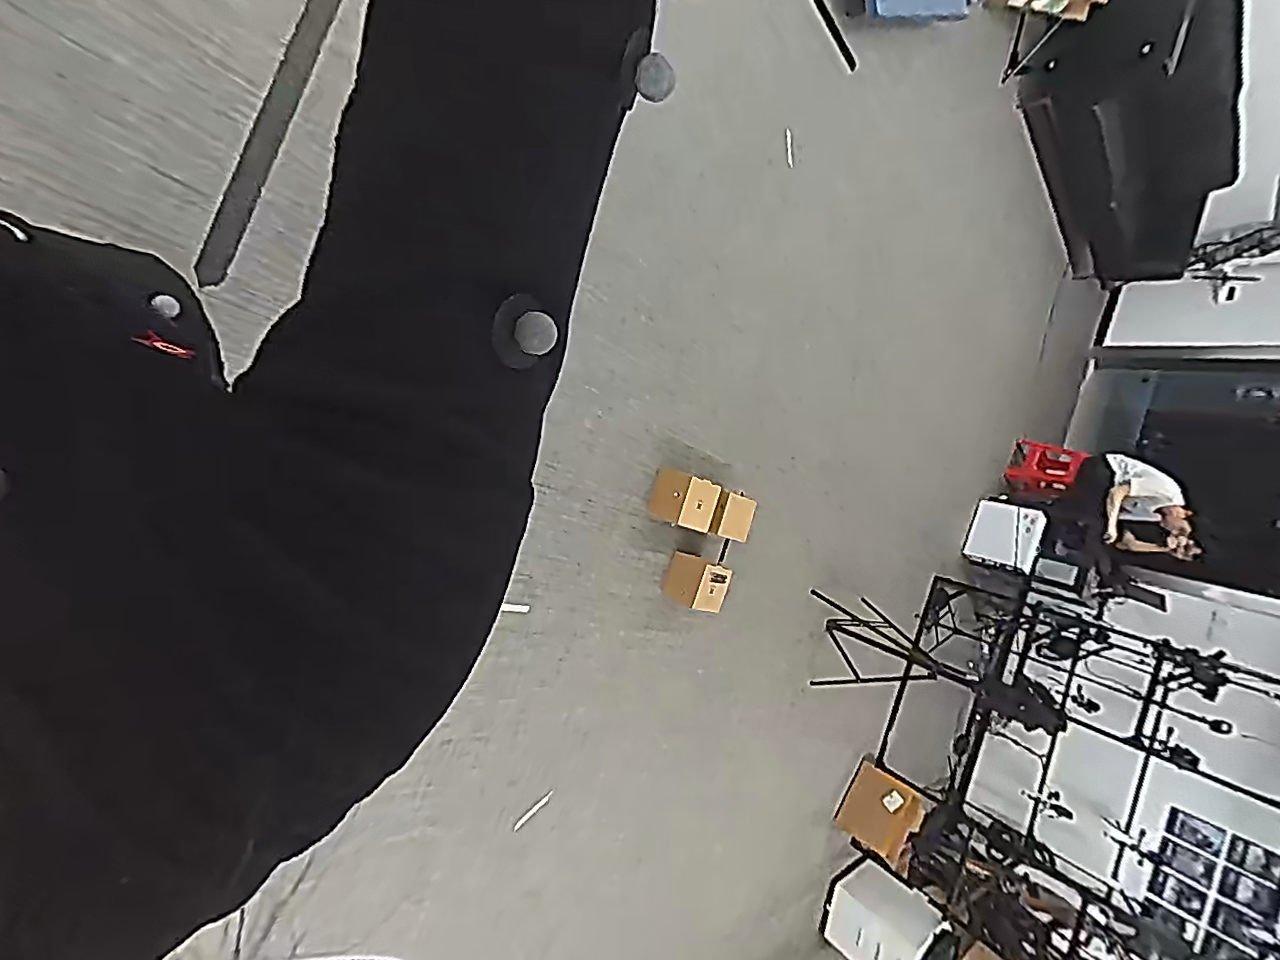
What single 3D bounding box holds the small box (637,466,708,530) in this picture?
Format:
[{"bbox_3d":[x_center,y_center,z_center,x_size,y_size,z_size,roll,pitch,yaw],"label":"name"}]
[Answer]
[{"bbox_3d":[0.112,0.064,1.950,0.168,0.176,0.179,20,87,-43],"label":"small box"}]
